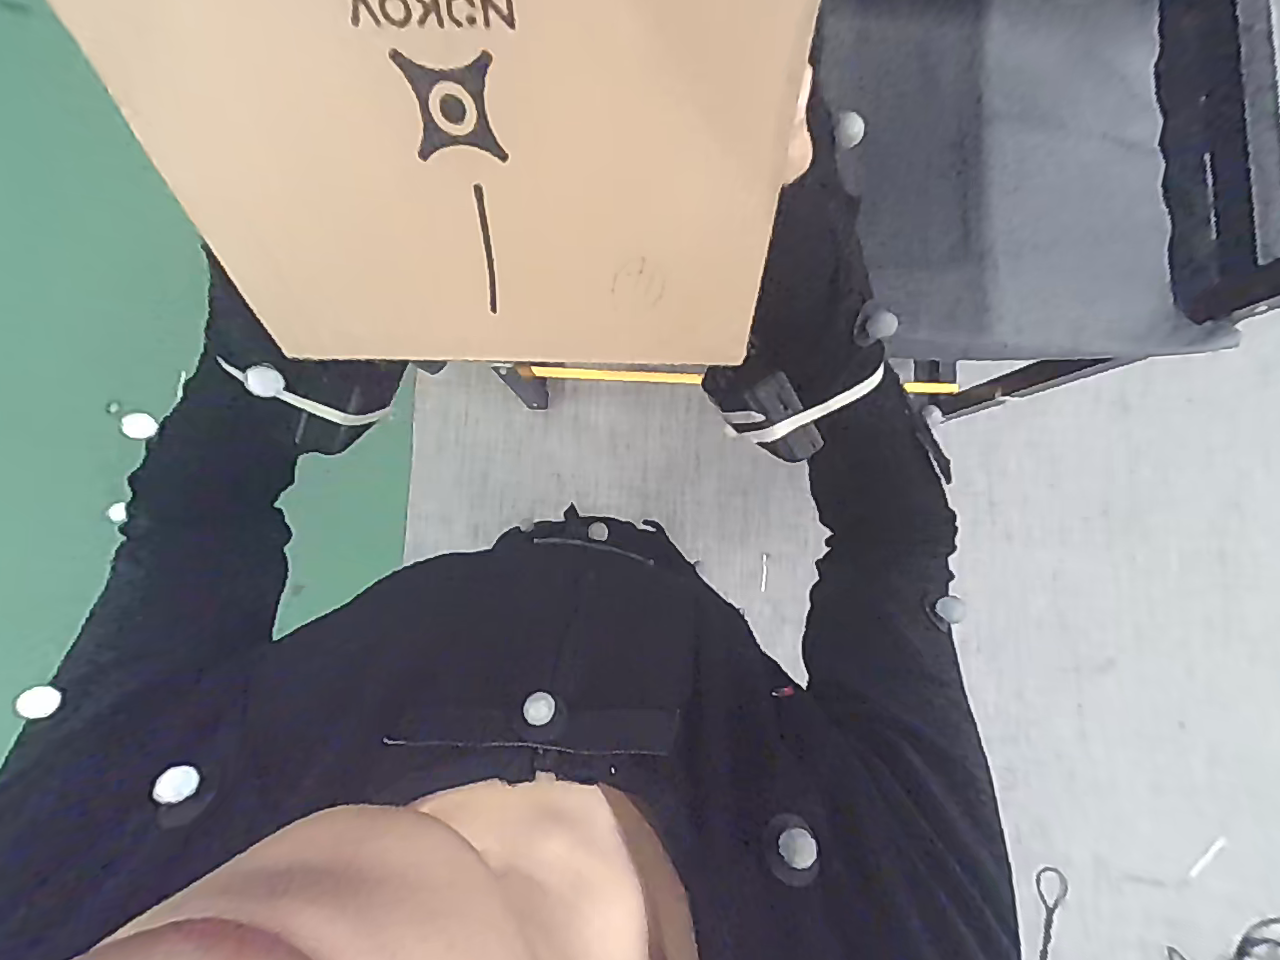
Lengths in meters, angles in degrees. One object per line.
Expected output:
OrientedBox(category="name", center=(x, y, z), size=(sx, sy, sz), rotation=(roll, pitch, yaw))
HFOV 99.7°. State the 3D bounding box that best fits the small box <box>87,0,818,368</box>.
OrientedBox(category="small box", center=(-0.042, -0.161, 0.184), size=(0.168, 0.179, 0.176), rotation=(2, 53, -1))
